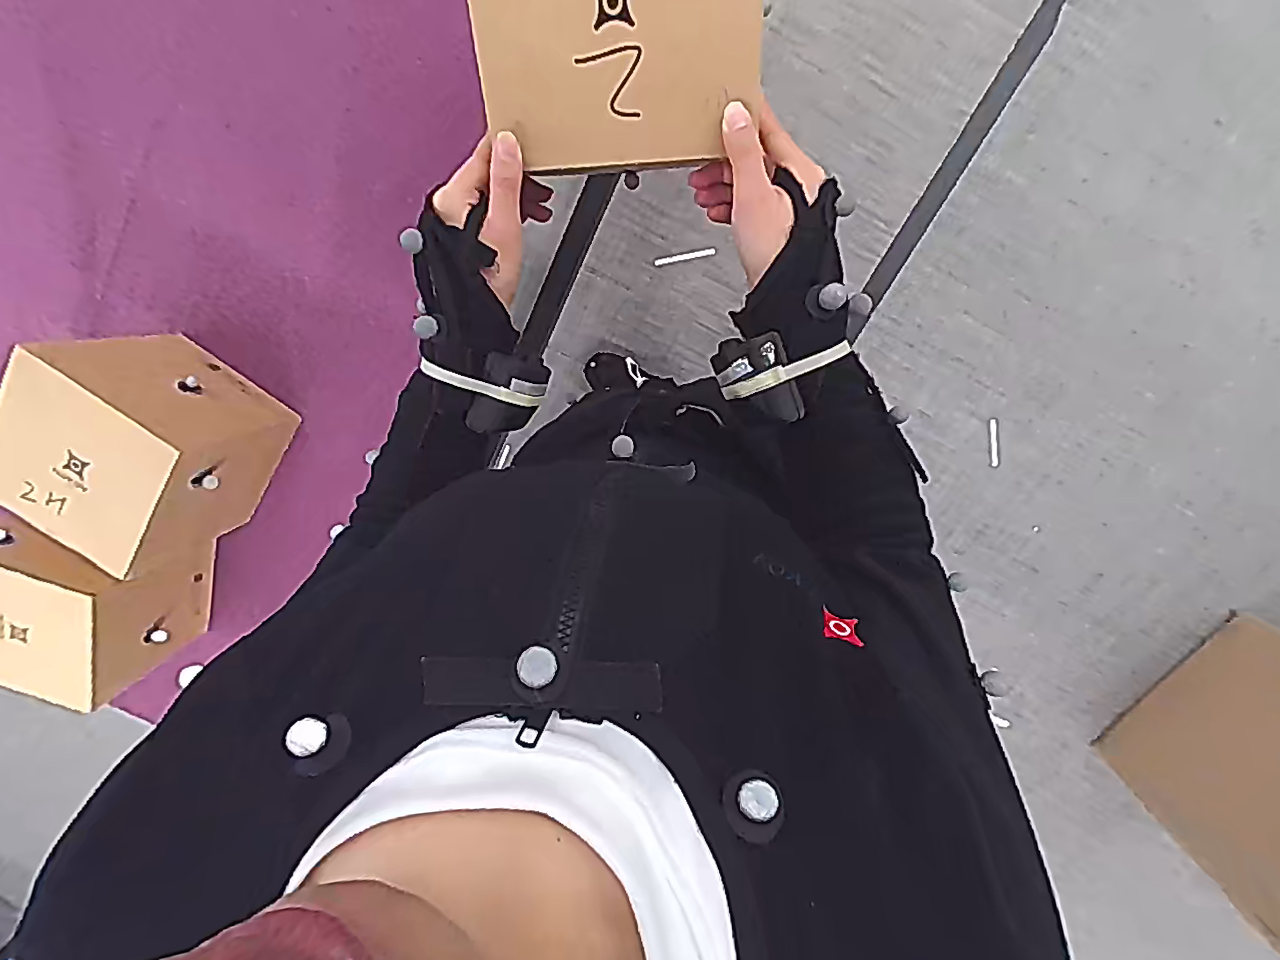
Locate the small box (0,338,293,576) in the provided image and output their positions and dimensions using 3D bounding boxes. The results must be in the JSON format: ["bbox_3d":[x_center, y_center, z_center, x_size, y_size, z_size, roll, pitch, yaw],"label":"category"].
[{"bbox_3d":[-0.525,-0.038,0.588,0.168,0.176,0.179,36,108,-6],"label":"small box"}]

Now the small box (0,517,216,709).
[{"bbox_3d":[-0.663,0.136,0.657,0.179,0.176,0.168,19,109,-1],"label":"small box"}]
